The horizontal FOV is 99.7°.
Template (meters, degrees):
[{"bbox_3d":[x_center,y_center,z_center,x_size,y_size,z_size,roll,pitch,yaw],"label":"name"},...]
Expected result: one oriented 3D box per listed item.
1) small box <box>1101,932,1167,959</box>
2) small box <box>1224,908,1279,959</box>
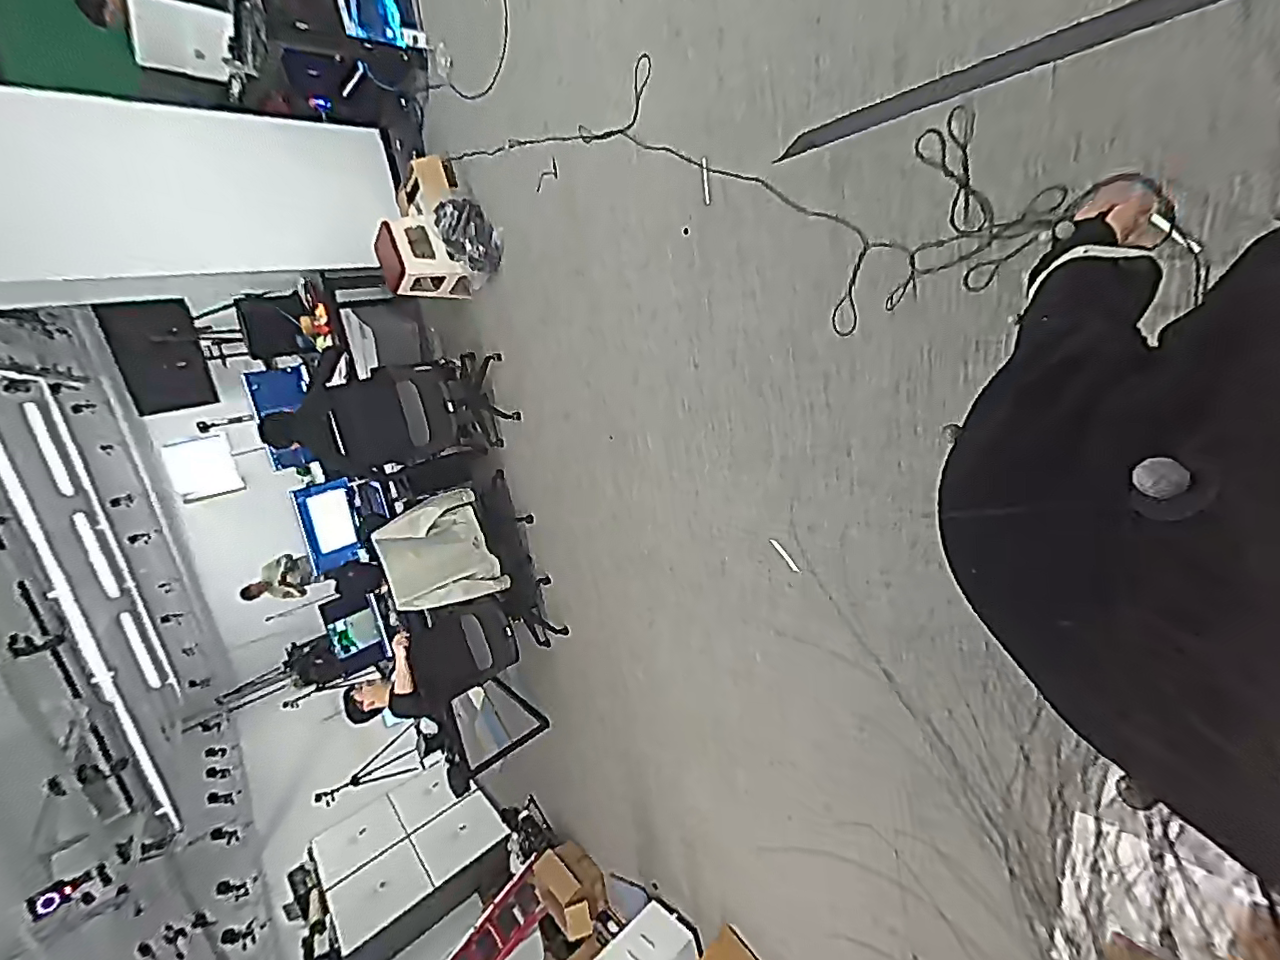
[{"bbox_3d":[0.792,0.864,0.822,0.168,0.176,0.179,12,114,47],"label":"small box"},{"bbox_3d":[0.846,0.700,0.671,0.168,0.176,0.179,16,119,47],"label":"small box"}]
